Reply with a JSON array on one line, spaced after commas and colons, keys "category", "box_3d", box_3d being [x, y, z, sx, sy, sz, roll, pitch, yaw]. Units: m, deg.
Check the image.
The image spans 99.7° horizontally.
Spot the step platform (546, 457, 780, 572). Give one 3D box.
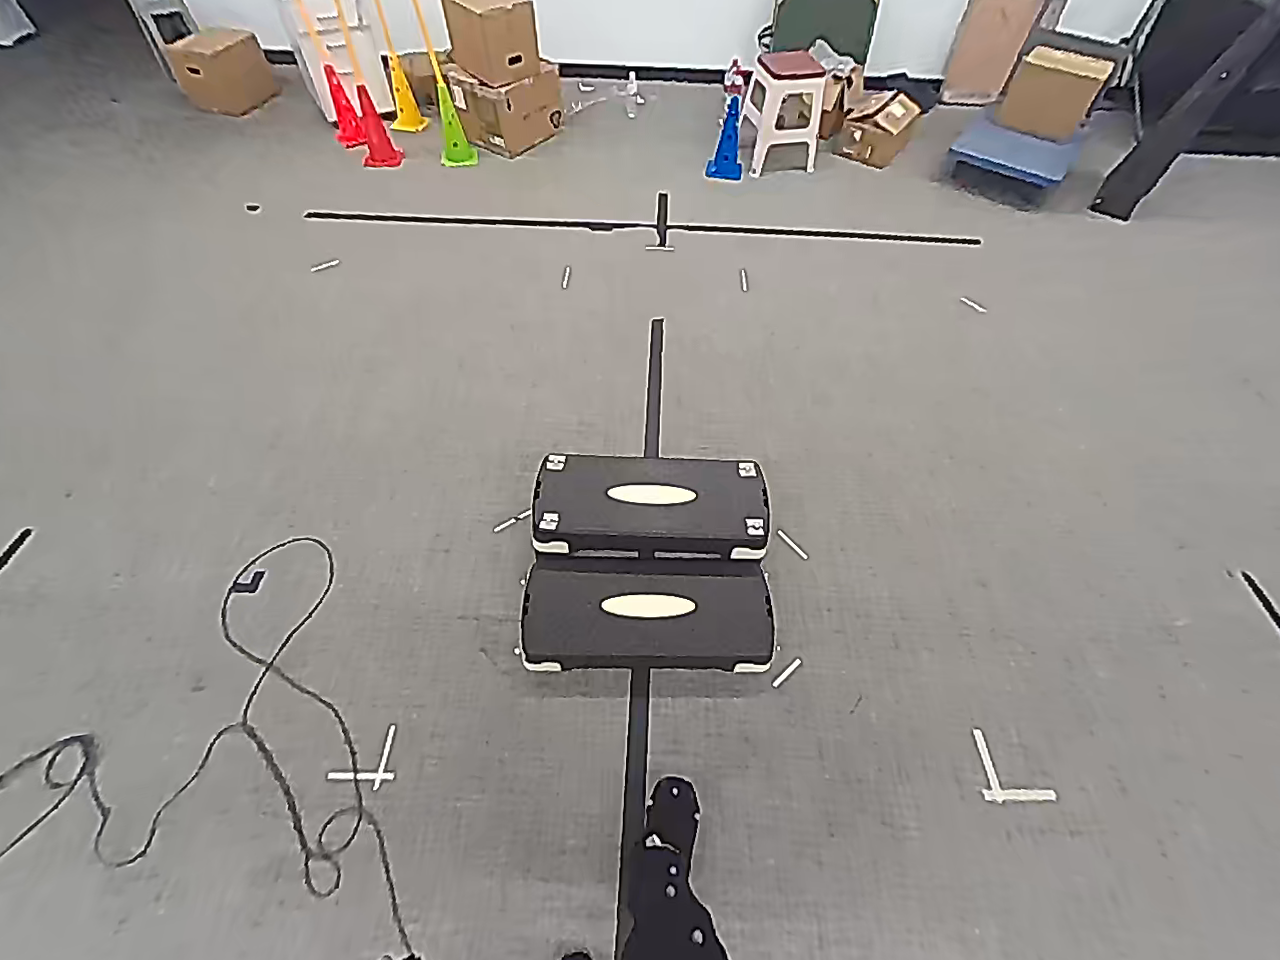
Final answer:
[{"category": "step platform", "box_3d": [0.064, 0.099, 1.608, 0.684, 0.204, 0.286, 2, 54, -2]}]
